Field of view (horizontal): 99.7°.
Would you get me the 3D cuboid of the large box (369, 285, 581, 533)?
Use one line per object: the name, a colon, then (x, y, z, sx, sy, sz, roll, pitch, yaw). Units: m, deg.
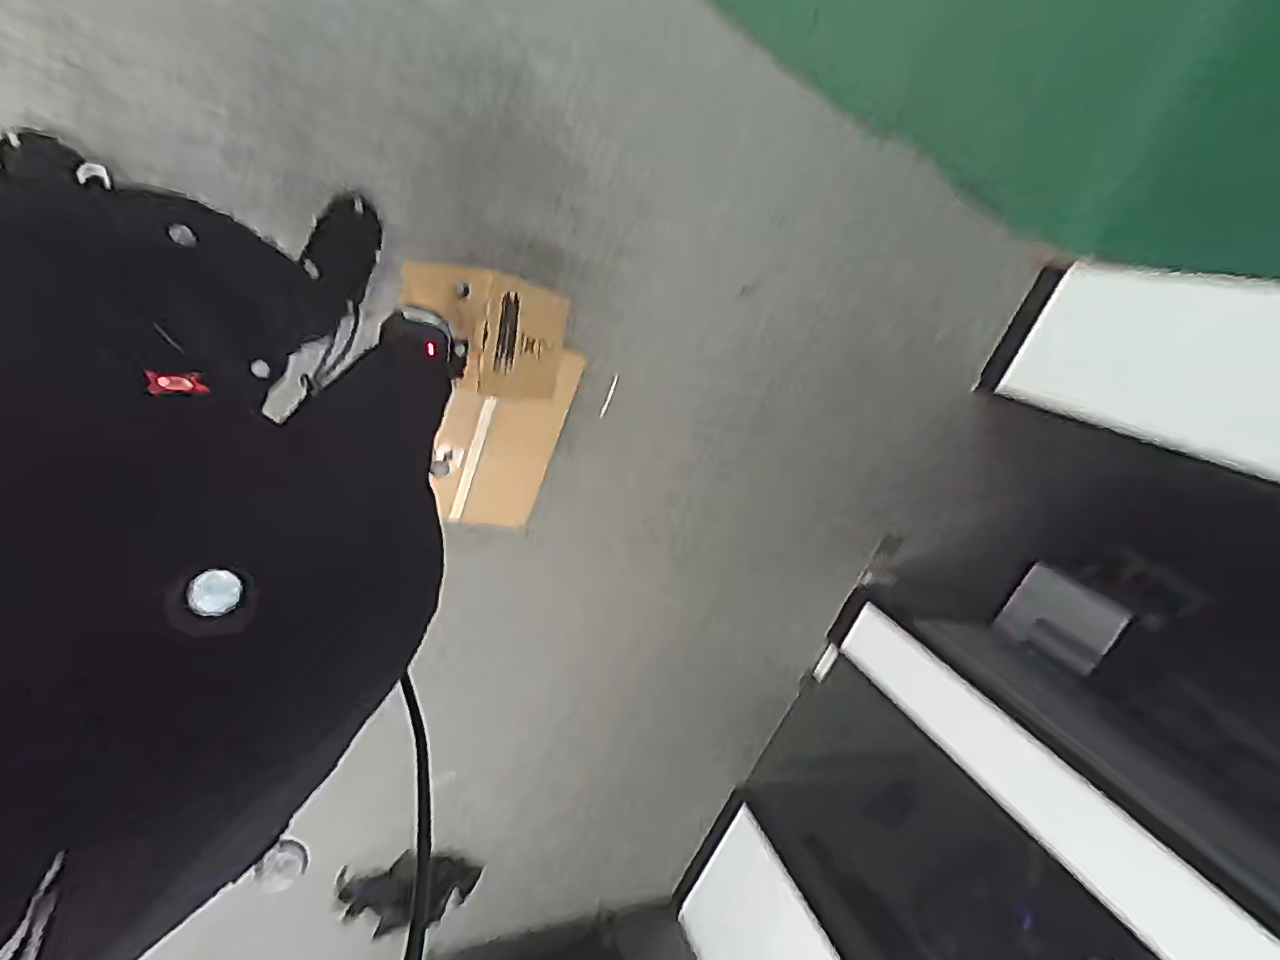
large box: (-0.372, -0.152, 1.160, 0.320, 0.320, 0.408, 13, 110, -31)
